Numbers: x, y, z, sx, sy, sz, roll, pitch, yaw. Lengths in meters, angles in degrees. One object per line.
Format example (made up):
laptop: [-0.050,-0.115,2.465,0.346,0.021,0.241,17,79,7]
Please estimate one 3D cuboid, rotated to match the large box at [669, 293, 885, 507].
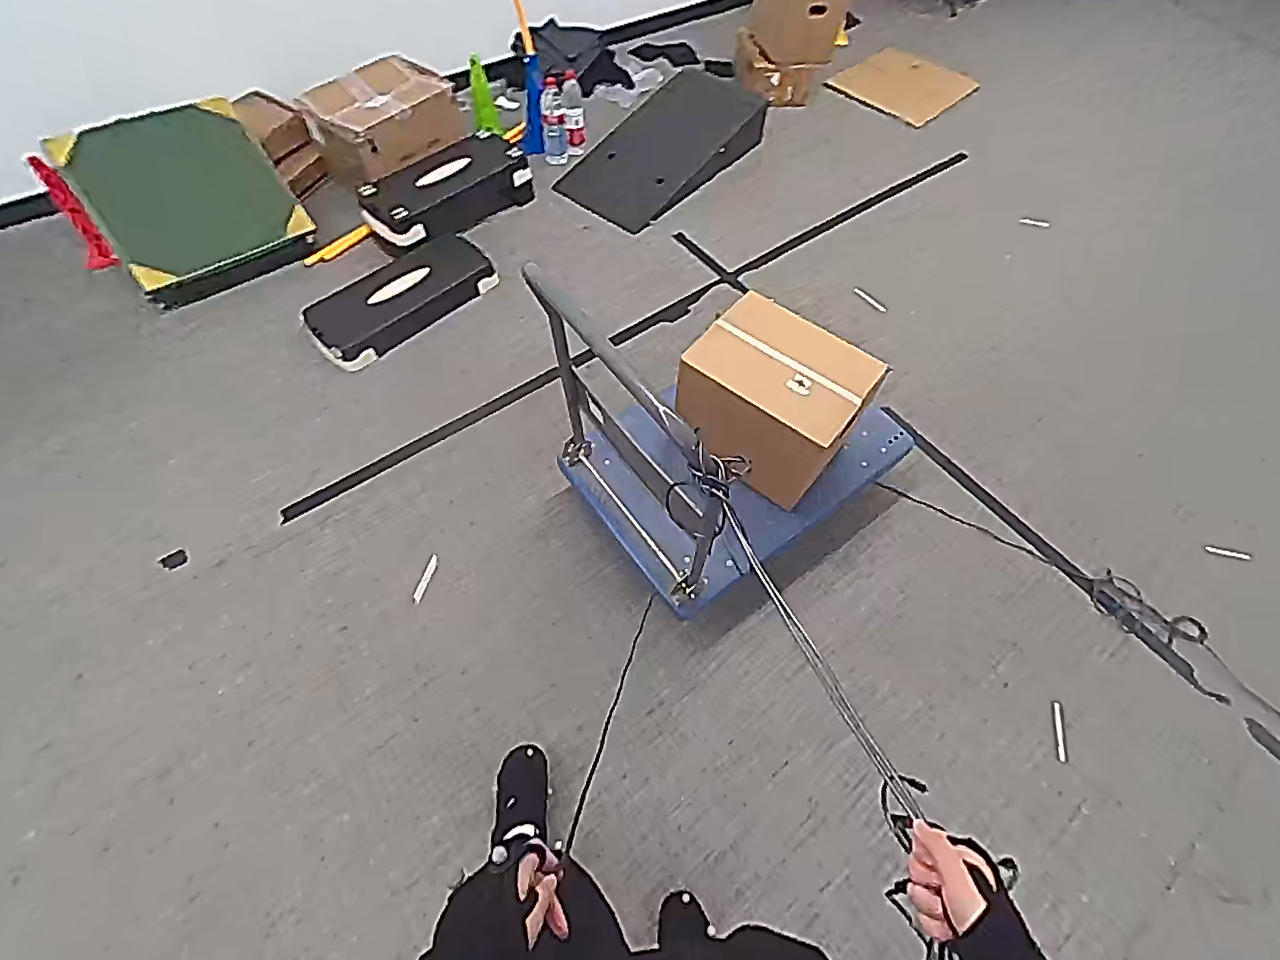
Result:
large box: [0.332,-0.206,1.412,0.408,0.320,0.320,36,66,17]
